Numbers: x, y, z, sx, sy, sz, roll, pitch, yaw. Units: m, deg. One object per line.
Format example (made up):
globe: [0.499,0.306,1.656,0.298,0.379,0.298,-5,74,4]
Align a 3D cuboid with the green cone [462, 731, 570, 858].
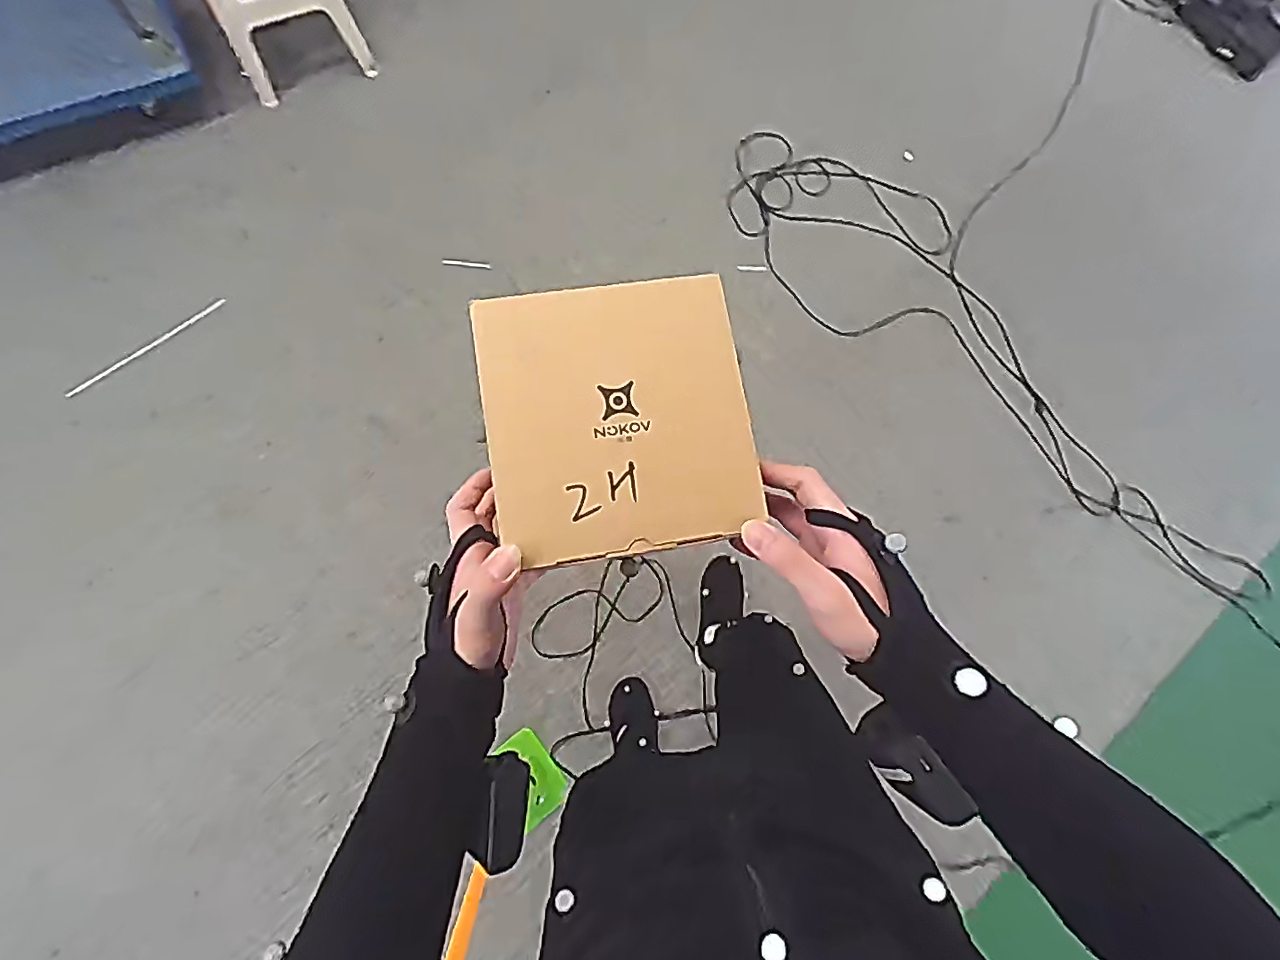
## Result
green cone: [-0.284,0.703,1.137,0.202,0.368,0.200,-37,82,-12]
